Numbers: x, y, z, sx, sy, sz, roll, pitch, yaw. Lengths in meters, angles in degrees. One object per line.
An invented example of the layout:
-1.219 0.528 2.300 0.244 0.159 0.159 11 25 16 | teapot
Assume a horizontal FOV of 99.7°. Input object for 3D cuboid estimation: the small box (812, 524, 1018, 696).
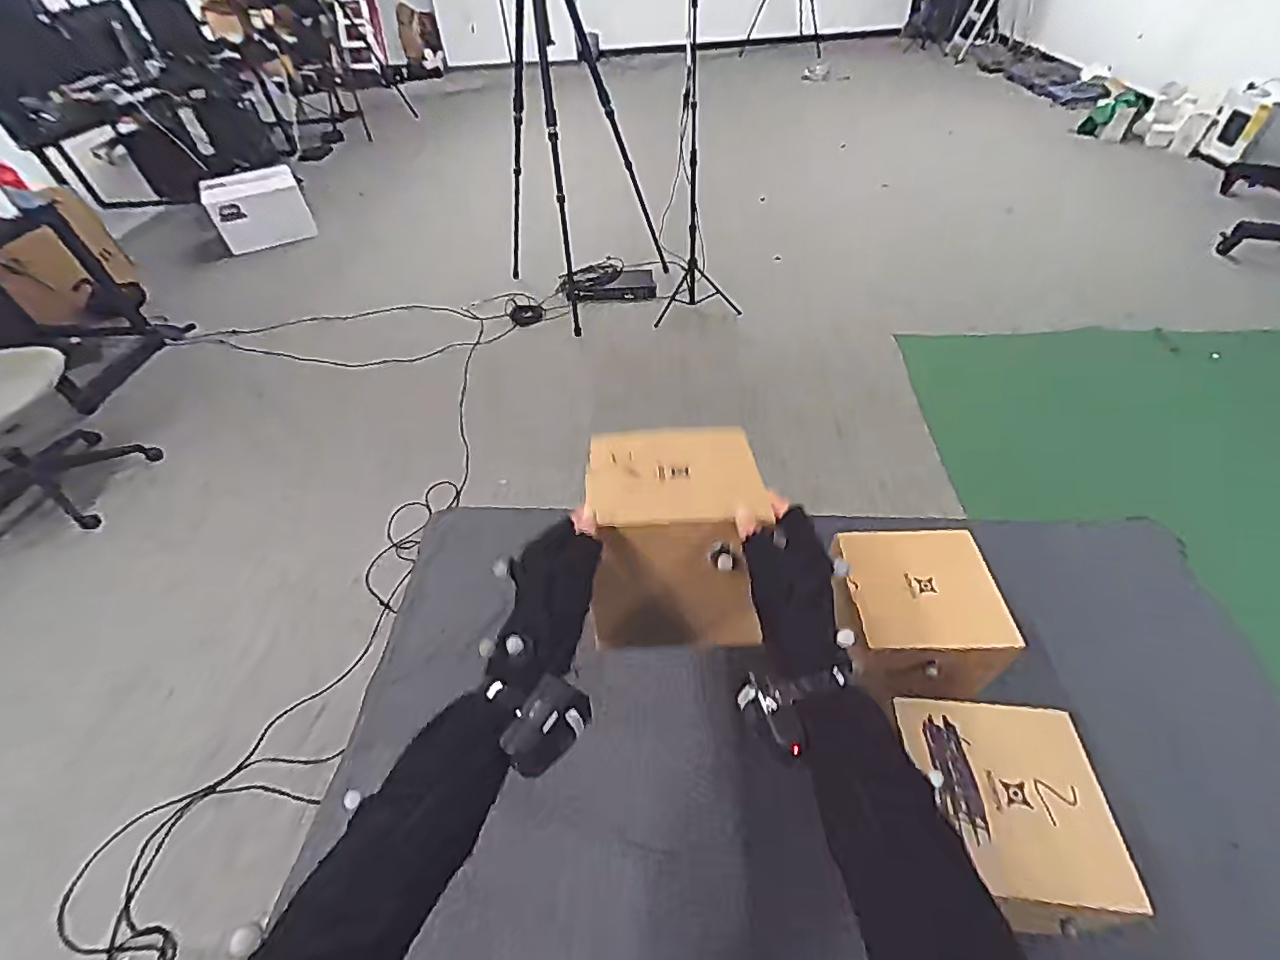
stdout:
0.343 0.175 0.717 0.179 0.176 0.168 -3 48 4 | small box
